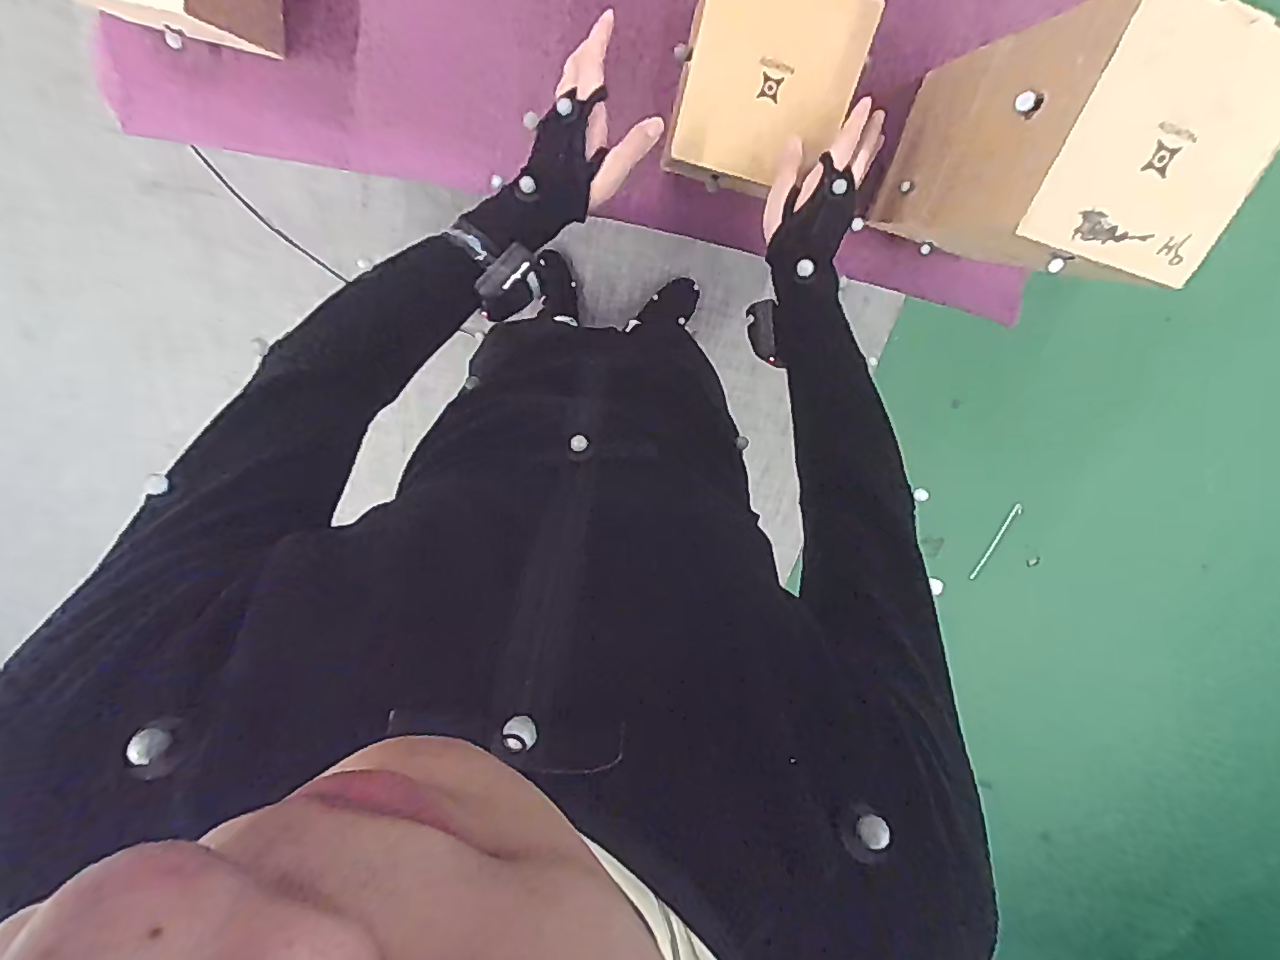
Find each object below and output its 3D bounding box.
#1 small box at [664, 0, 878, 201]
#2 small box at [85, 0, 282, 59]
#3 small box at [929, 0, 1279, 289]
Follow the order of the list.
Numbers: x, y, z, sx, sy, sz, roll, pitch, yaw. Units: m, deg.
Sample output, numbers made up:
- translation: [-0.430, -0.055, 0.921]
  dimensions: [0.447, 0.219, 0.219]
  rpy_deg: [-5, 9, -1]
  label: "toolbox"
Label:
- translation: [0.126, -0.426, 0.605]
  dimensions: [0.168, 0.176, 0.179]
  rpy_deg: [12, 114, -7]
  label: "small box"
- translation: [-0.483, -0.554, 0.526]
  dimensions: [0.168, 0.176, 0.179]
  rpy_deg: [10, 116, -6]
  label: "small box"
- translation: [0.403, -0.293, 0.490]
  dimensions: [0.168, 0.176, 0.179]
  rpy_deg: [15, 115, -7]
  label: "small box"
